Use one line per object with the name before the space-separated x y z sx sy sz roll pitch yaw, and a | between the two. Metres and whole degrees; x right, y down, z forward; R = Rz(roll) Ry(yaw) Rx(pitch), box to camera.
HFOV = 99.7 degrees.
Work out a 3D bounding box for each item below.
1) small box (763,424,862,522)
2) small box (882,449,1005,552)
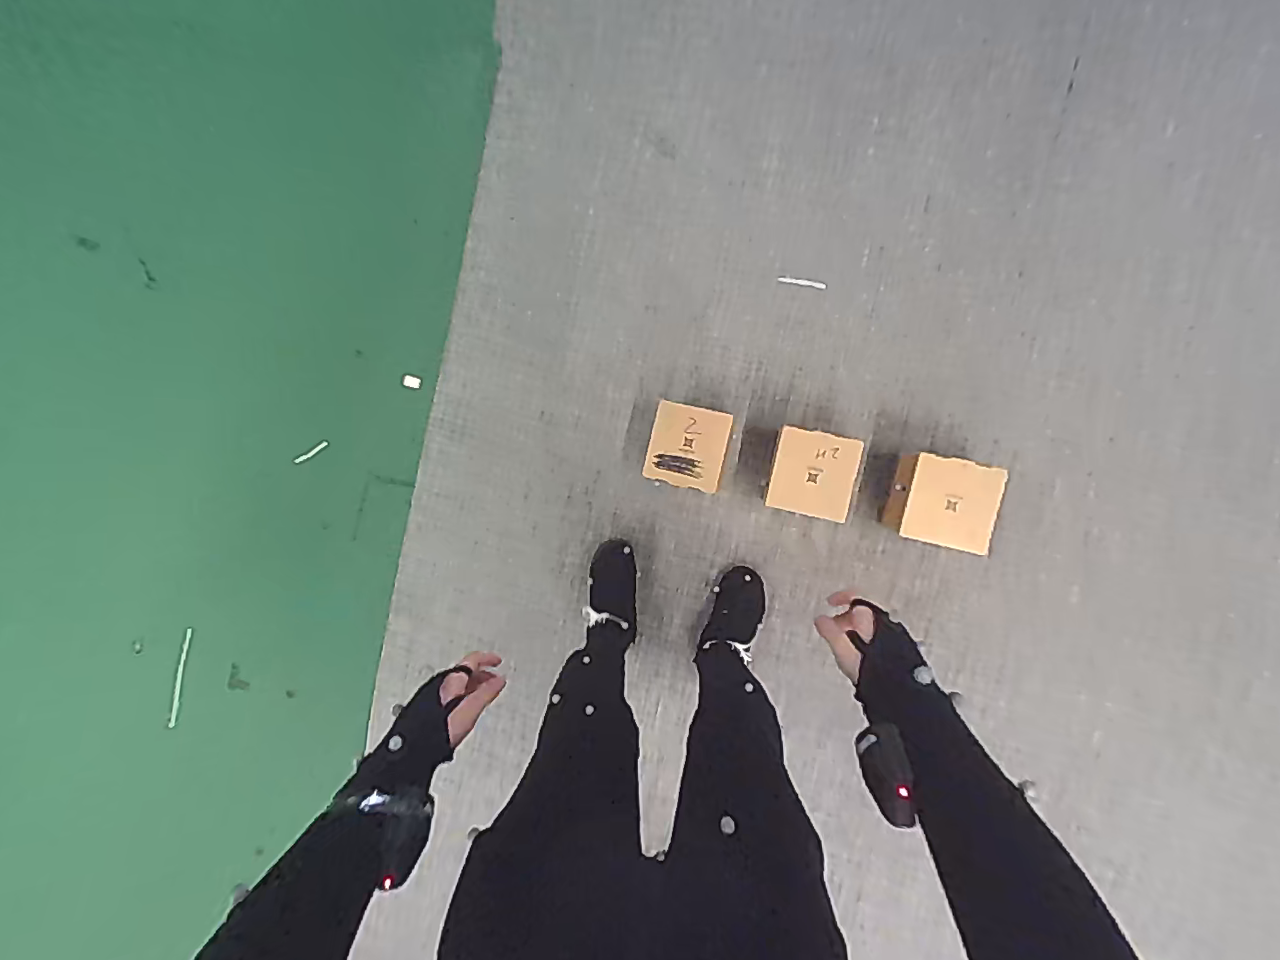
small box | 0.372 -0.016 1.193 0.168 0.176 0.179 13 93 10
small box | 0.630 0.039 1.146 0.168 0.176 0.179 13 93 11
